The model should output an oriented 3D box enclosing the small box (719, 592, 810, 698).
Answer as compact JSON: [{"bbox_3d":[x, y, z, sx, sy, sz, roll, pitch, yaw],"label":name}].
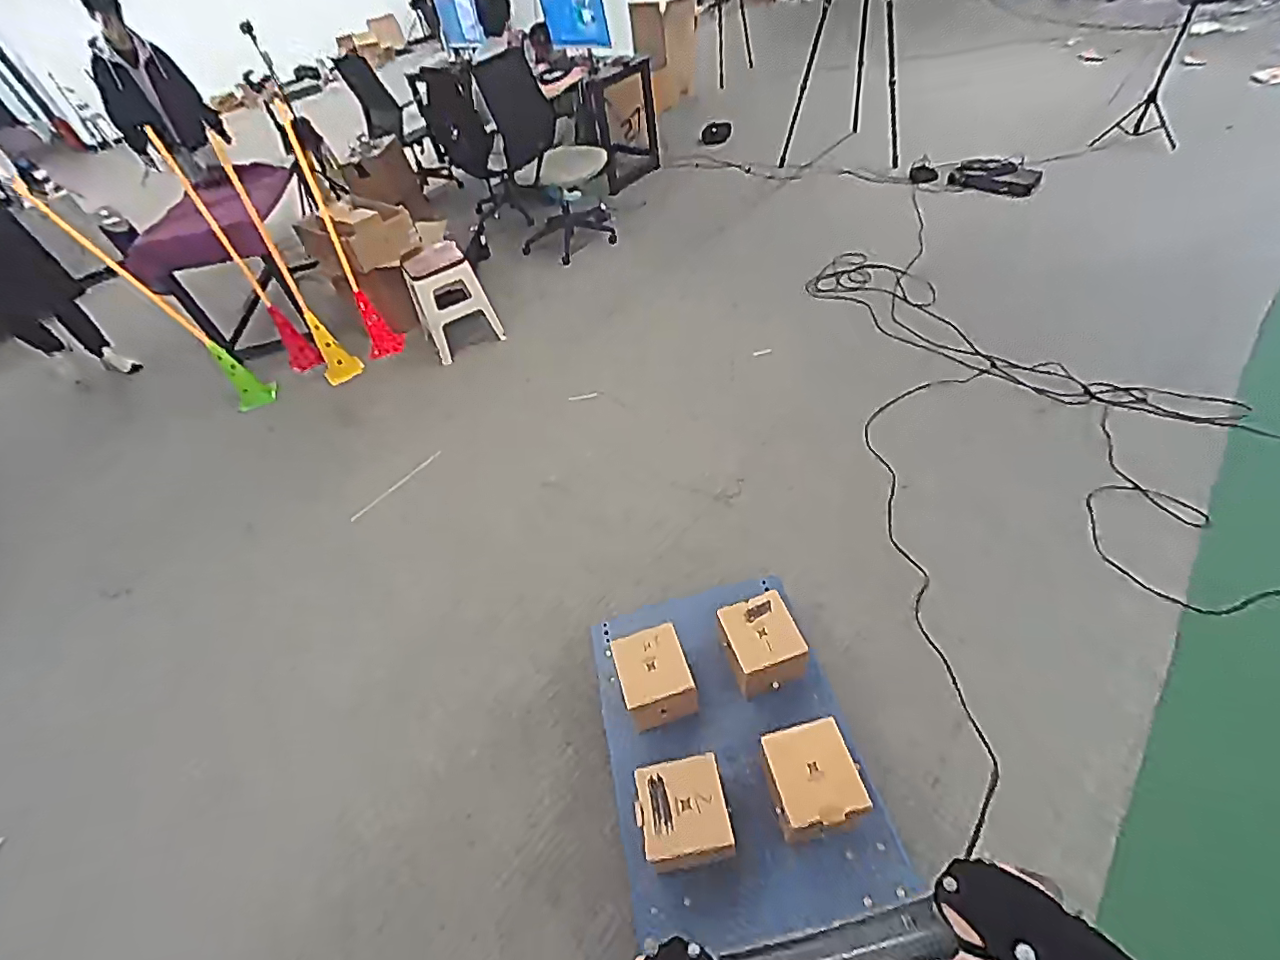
[{"bbox_3d":[0.307,0.417,1.365,0.168,0.176,0.179,-18,49,-5],"label":"small box"}]

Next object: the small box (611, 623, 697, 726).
[{"bbox_3d":[0.038,0.493,1.348,0.168,0.176,0.179,-16,48,-5],"label":"small box"}]

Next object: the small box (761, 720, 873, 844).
[{"bbox_3d":[0.365,0.645,1.153,0.168,0.176,0.179,-14,48,-2],"label":"small box"}]
